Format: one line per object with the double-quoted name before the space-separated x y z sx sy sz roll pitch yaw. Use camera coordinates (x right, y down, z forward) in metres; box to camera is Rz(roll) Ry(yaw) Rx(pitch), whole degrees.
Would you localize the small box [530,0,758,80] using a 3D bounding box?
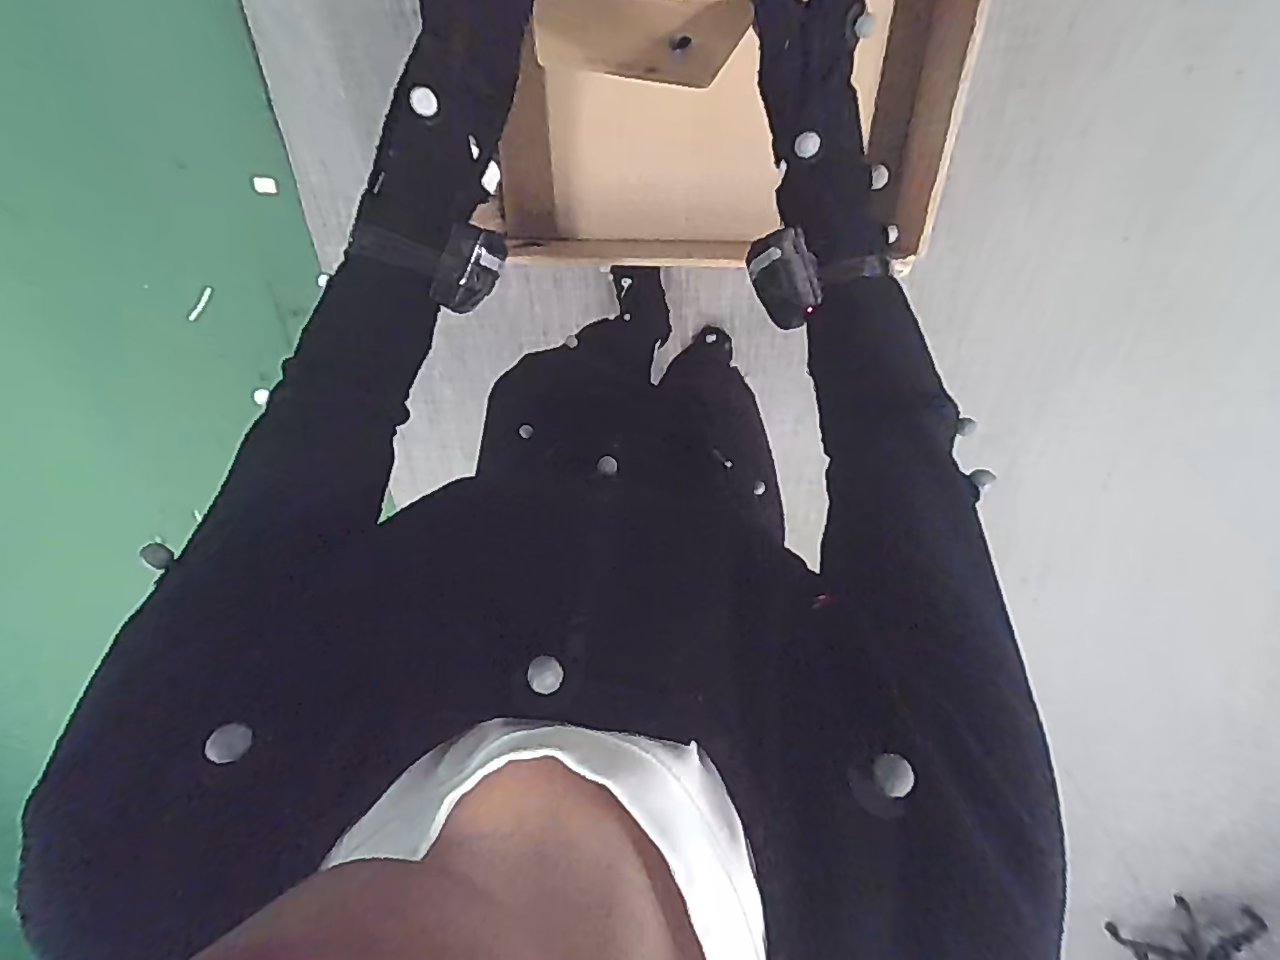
"small box" 0.003 -0.436 0.403 0.168 0.176 0.179 2 107 -10
